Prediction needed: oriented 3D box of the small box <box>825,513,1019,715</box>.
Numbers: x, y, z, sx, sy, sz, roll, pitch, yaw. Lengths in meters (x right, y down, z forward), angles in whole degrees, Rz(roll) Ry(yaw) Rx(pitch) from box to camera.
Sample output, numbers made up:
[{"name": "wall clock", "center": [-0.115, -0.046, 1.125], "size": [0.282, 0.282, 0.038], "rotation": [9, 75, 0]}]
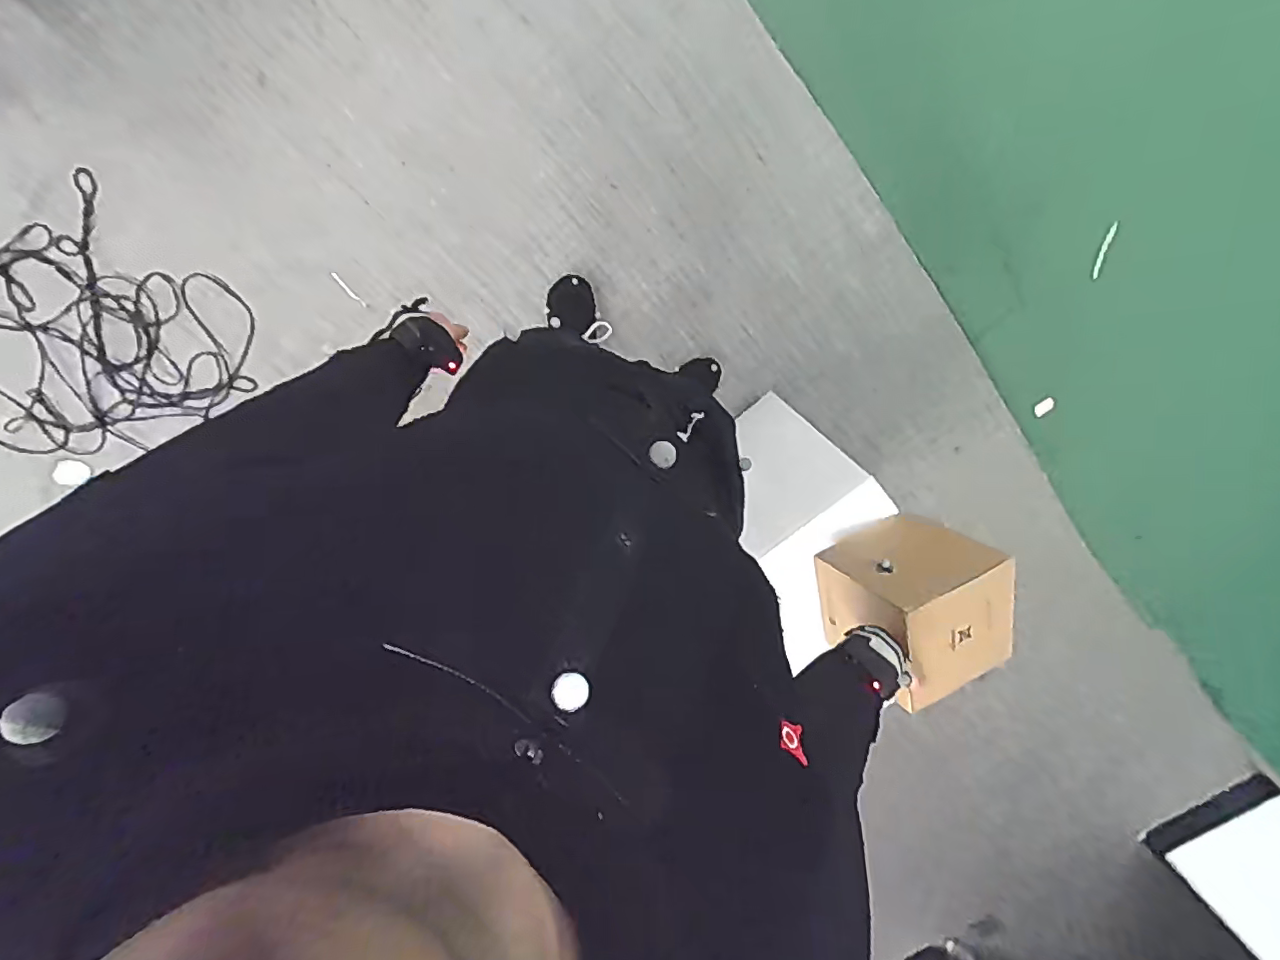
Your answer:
[{"name": "small box", "center": [0.371, 0.168, 0.733], "size": [0.179, 0.176, 0.168], "rotation": [-22, 114, -16]}]
